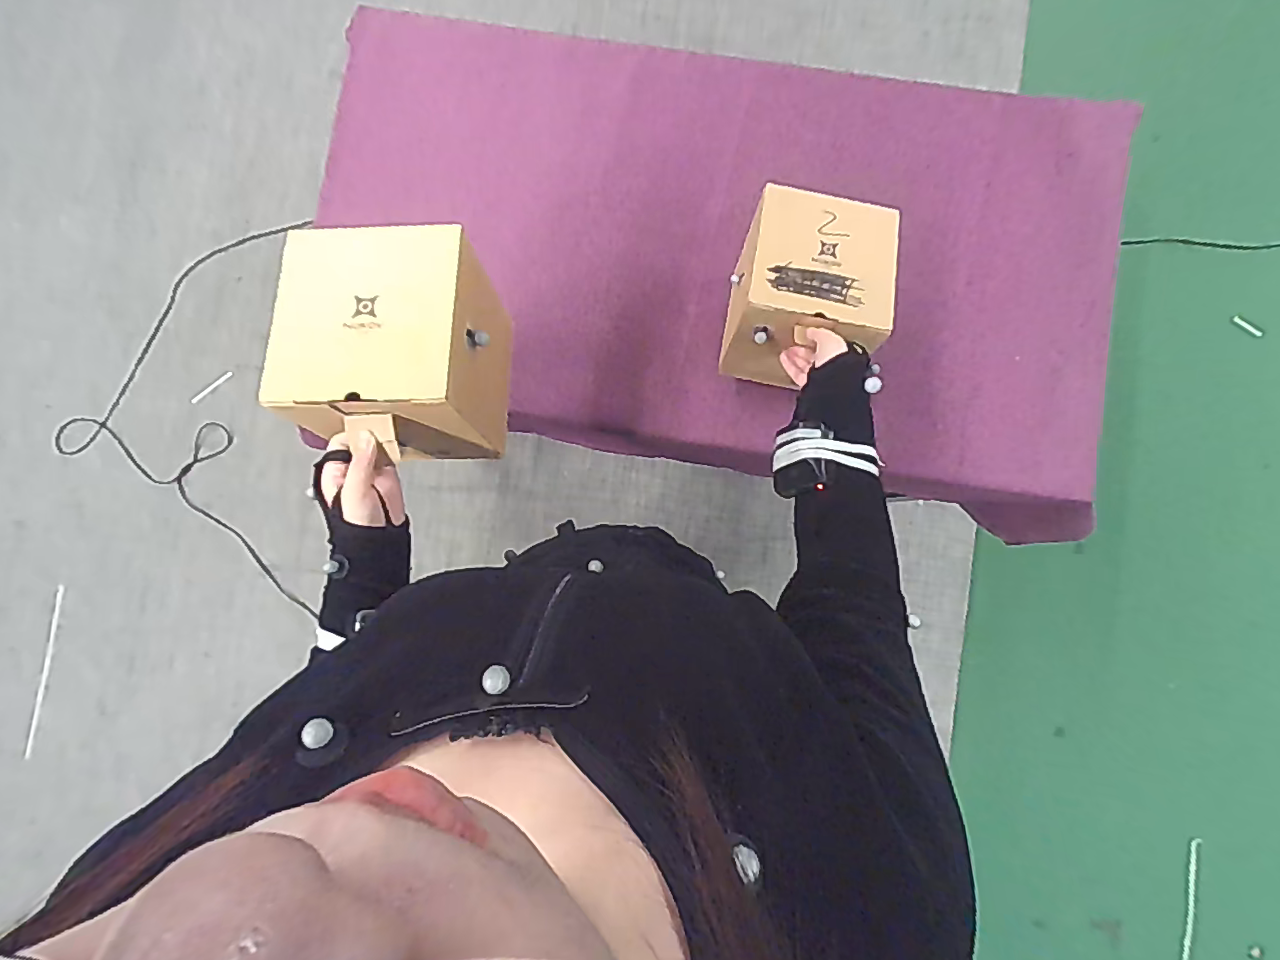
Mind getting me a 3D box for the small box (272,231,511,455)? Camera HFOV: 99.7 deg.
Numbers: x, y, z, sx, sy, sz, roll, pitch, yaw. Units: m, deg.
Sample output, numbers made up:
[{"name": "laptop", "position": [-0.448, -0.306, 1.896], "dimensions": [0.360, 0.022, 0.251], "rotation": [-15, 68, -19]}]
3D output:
[{"name": "small box", "position": [-0.241, -0.134, 0.573], "dimensions": [0.168, 0.176, 0.179], "rotation": [-1, 77, 3]}]
